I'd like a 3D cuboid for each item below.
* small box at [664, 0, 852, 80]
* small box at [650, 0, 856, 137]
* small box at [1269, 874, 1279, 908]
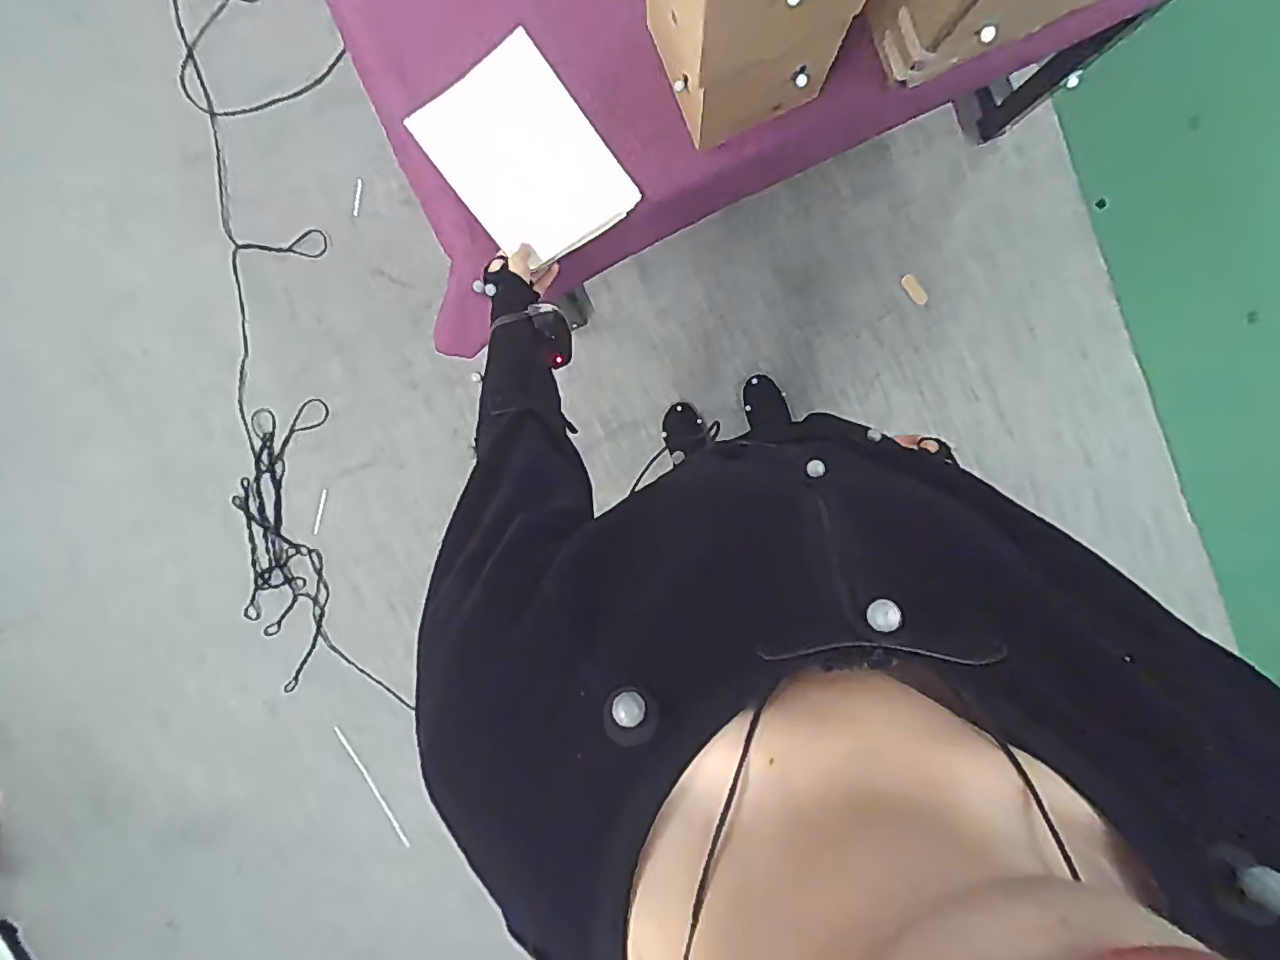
[{"bbox_3d":[0.102,-0.491,0.449,0.179,0.176,0.168,-22,96,7],"label":"small box"},{"bbox_3d":[0.114,-0.527,0.609,0.168,0.176,0.179,-22,95,6],"label":"small box"},{"bbox_3d":[1.544,0.962,1.167,0.179,0.176,0.168,-34,95,8],"label":"small box"}]
